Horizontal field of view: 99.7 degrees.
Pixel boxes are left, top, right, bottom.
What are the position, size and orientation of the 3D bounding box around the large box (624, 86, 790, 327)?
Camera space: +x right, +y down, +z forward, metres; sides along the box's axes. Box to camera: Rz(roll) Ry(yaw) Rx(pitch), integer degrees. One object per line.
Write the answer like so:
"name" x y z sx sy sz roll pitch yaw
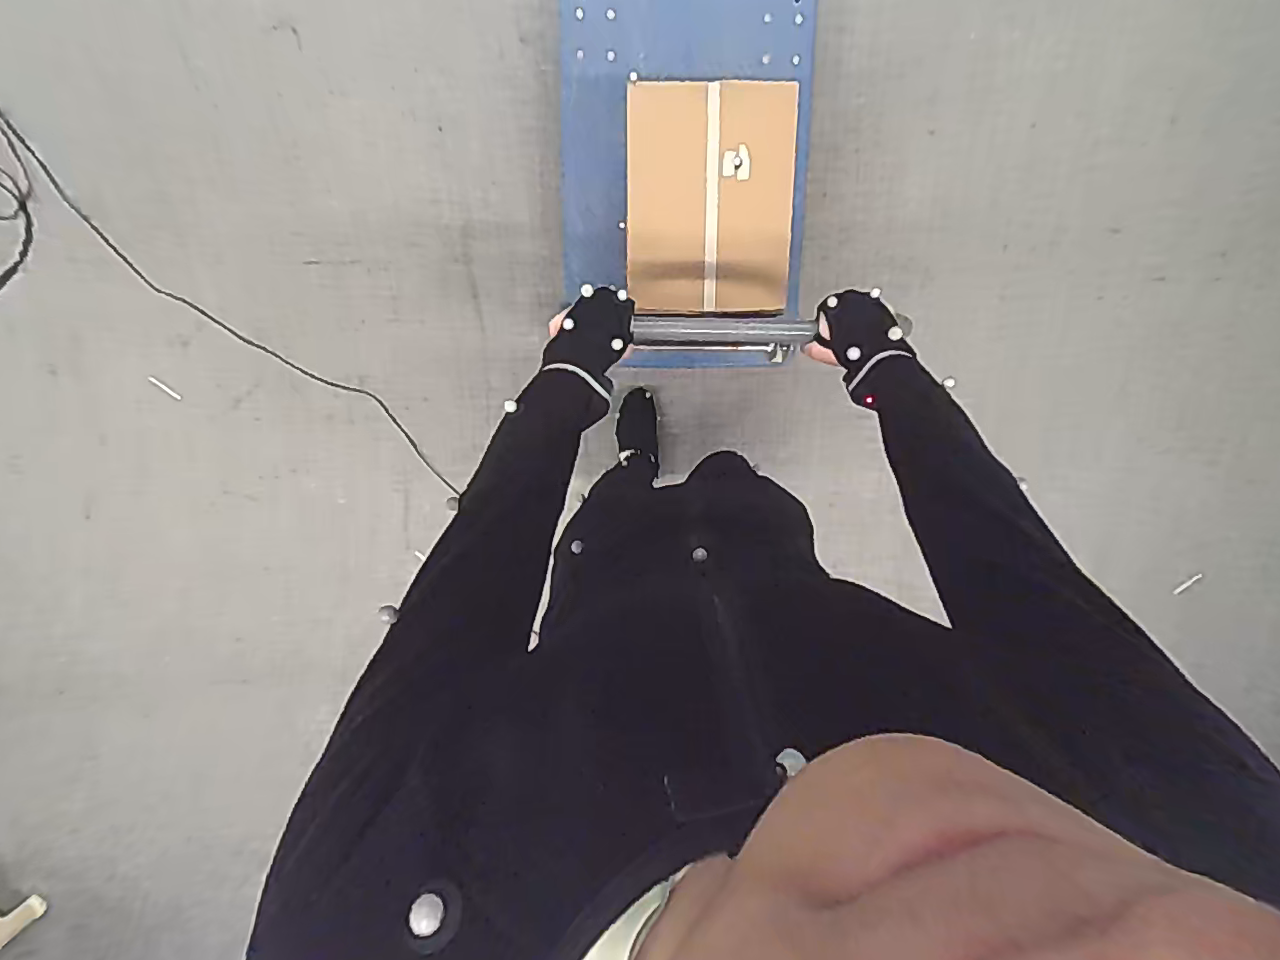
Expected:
"large box" 0.126 -0.554 1.175 0.320 0.320 0.408 0 101 -1
